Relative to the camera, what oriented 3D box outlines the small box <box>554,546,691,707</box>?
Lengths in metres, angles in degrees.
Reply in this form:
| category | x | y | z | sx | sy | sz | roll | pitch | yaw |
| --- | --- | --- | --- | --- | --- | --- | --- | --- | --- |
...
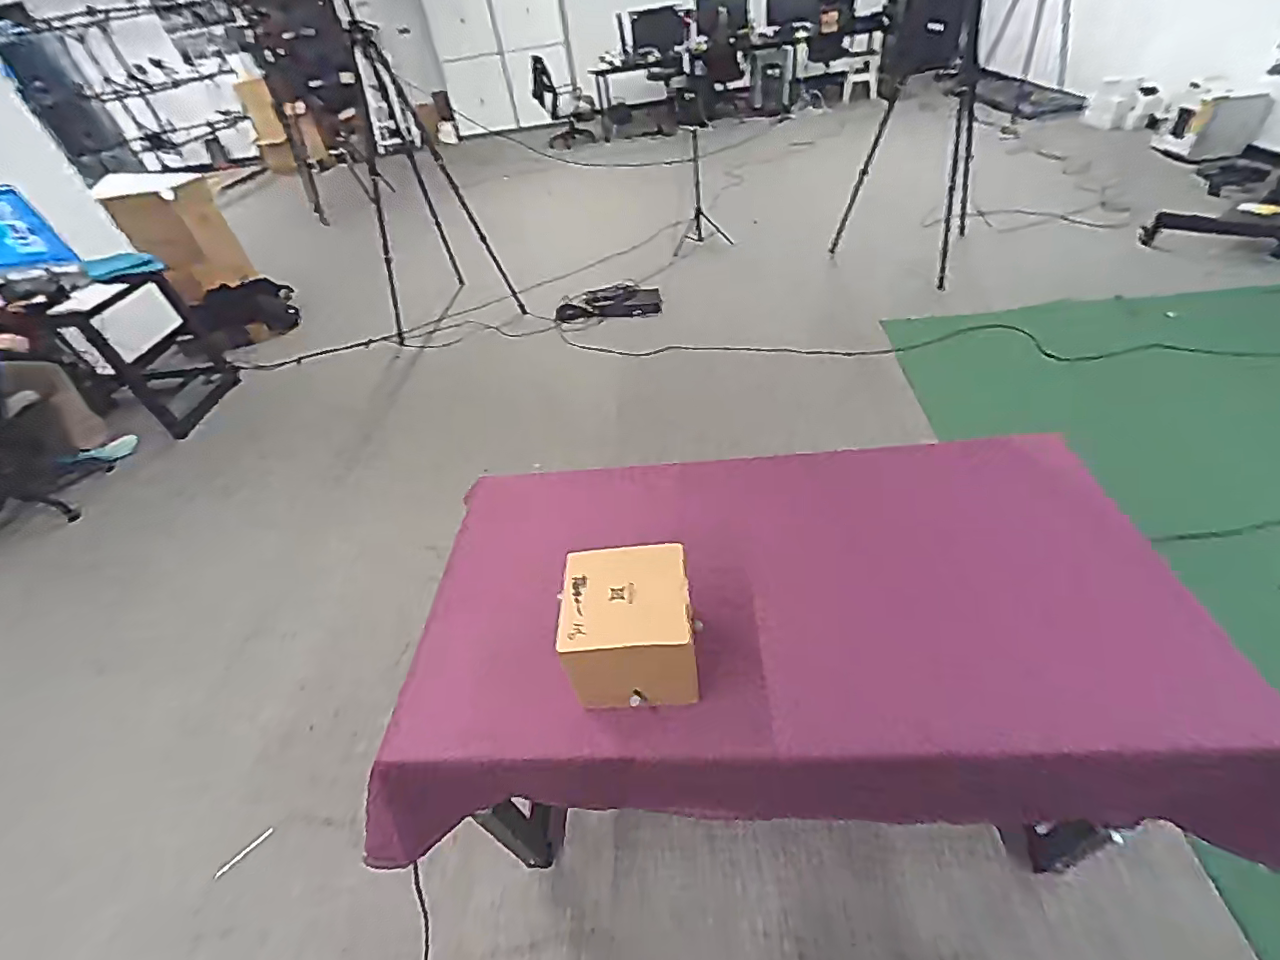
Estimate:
| category | x | y | z | sx | sy | sz | roll | pitch | yaw |
| --- | --- | --- | --- | --- | --- | --- | --- | --- | --- |
| small box | -0.016 | 0.218 | 0.798 | 0.179 | 0.176 | 0.168 | -5 | 42 | 4 |
